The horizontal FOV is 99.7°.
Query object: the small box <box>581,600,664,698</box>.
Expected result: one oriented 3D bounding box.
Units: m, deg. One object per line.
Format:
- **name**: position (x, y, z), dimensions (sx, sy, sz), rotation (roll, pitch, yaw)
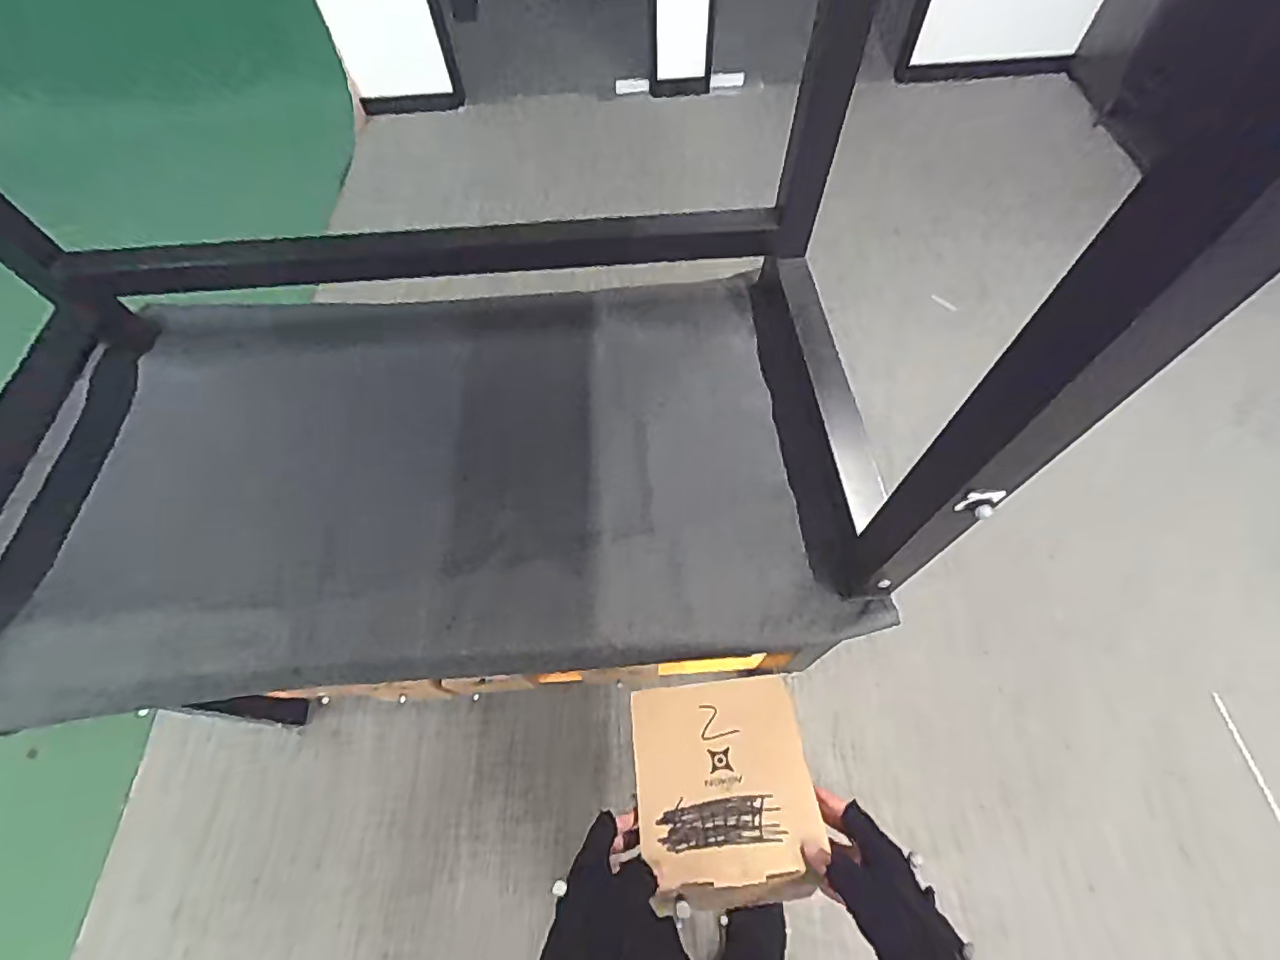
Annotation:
- **small box**: position (-0.031, 0.374, 1.193), dimensions (0.168, 0.176, 0.179), rotation (0, 61, 3)
